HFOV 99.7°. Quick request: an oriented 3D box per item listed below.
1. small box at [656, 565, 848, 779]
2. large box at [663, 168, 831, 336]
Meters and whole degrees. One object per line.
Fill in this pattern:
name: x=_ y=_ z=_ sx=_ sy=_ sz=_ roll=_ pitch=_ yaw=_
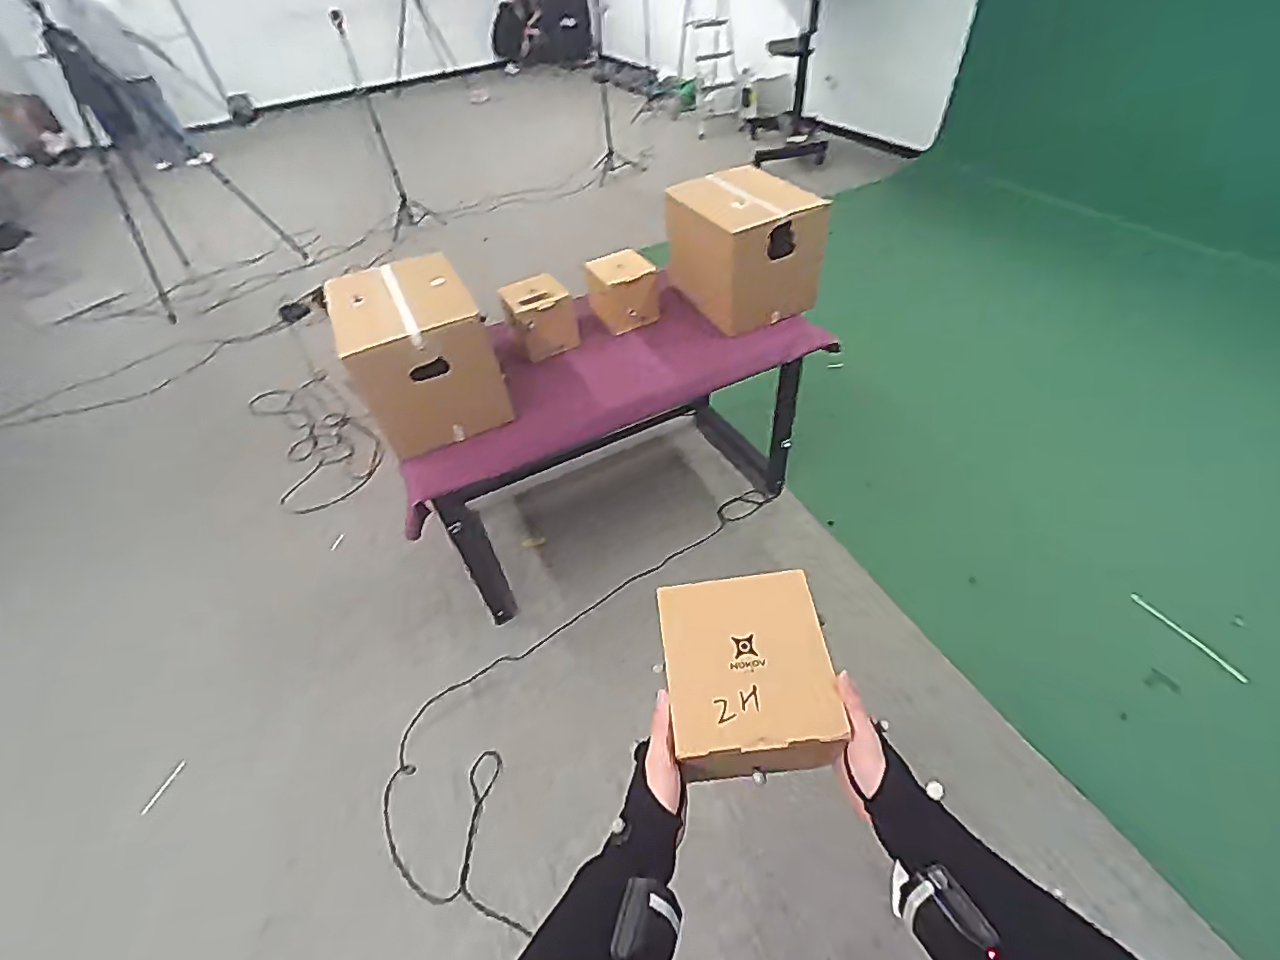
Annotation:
small box: x=0.112 y=0.220 z=0.611 sx=0.168 sy=0.176 sz=0.179 roll=-9 pitch=53 yaw=2
large box: x=0.301 y=-0.701 z=1.647 sx=0.320 sy=0.320 sz=0.408 roll=-23 pitch=49 yaw=-13
